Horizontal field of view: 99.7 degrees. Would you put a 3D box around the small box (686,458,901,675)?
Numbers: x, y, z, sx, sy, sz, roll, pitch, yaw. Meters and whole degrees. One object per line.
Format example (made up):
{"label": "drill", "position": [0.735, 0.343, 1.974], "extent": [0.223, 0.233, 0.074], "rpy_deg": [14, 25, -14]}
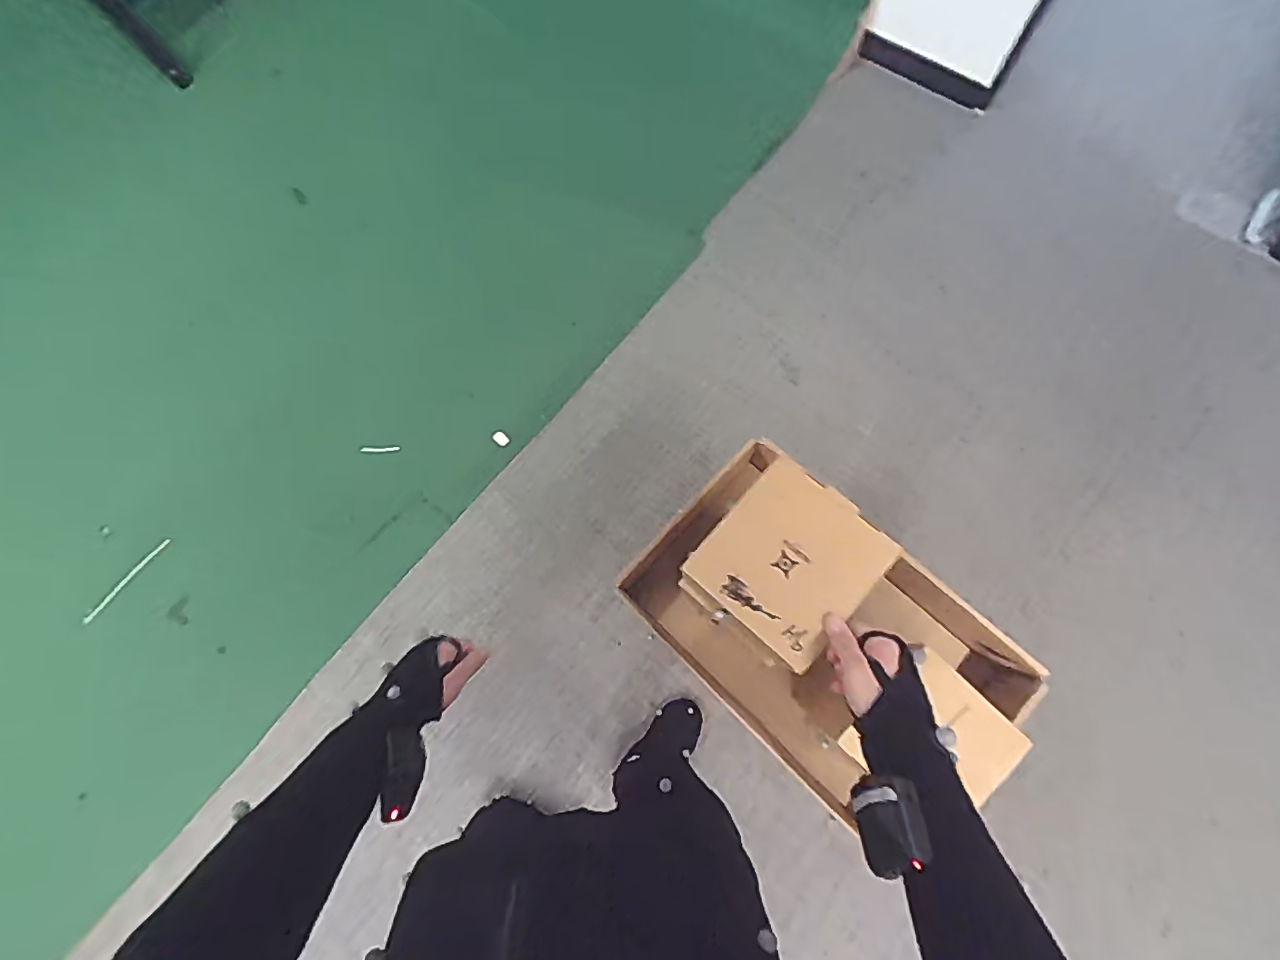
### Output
{"label": "small box", "position": [0.170, 0.107, 0.658], "extent": [0.168, 0.176, 0.179], "rpy_deg": [41, 82, 14]}

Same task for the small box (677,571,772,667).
{"label": "small box", "position": [0.176, 0.153, 0.816], "extent": [0.168, 0.176, 0.179], "rpy_deg": [42, 84, 13]}

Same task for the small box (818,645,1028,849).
{"label": "small box", "position": [0.370, 0.350, 0.749], "extent": [0.179, 0.176, 0.168], "rpy_deg": [-43, 75, -7]}
